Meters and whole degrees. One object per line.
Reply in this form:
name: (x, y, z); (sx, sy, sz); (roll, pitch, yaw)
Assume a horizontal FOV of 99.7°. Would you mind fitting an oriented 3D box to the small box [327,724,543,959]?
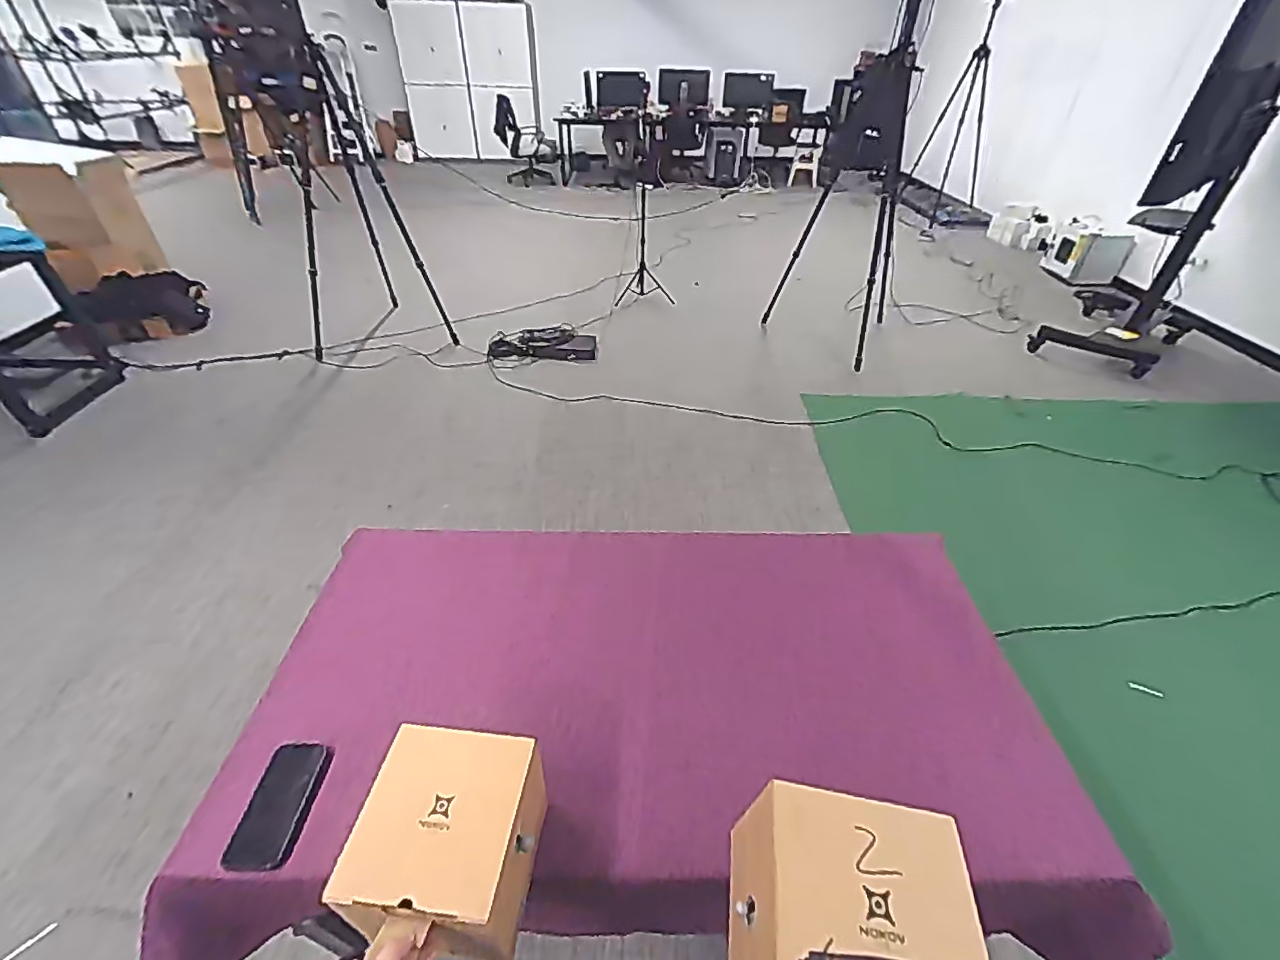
small box: (-0.213, 0.415, 0.622); (0.168, 0.176, 0.179); (6, 39, 4)
